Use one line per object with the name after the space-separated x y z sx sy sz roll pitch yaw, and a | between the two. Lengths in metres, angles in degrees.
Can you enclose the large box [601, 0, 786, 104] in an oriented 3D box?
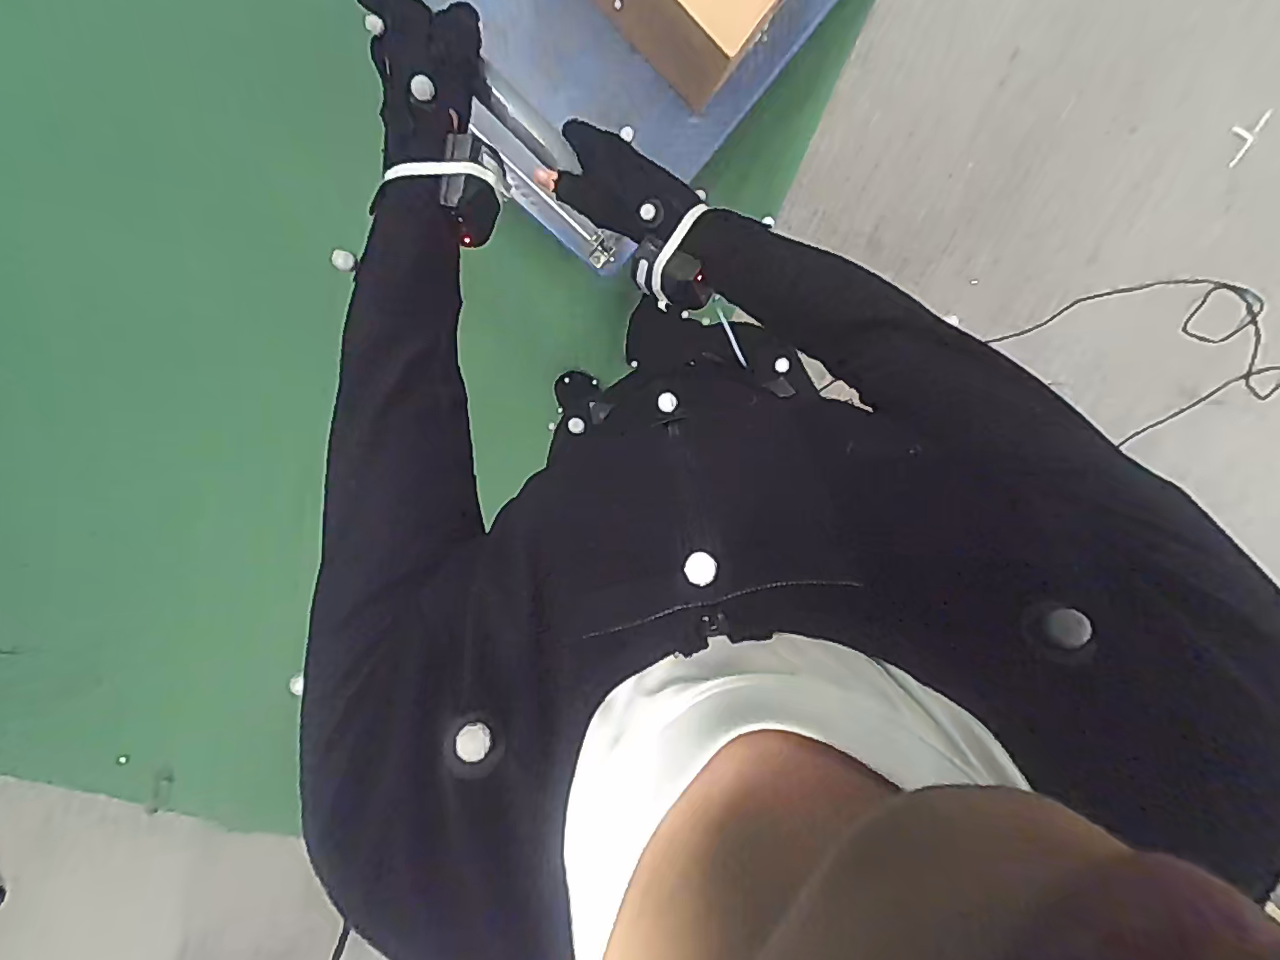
0.078 -0.896 0.832 0.408 0.320 0.320 37 105 -15 | large box
